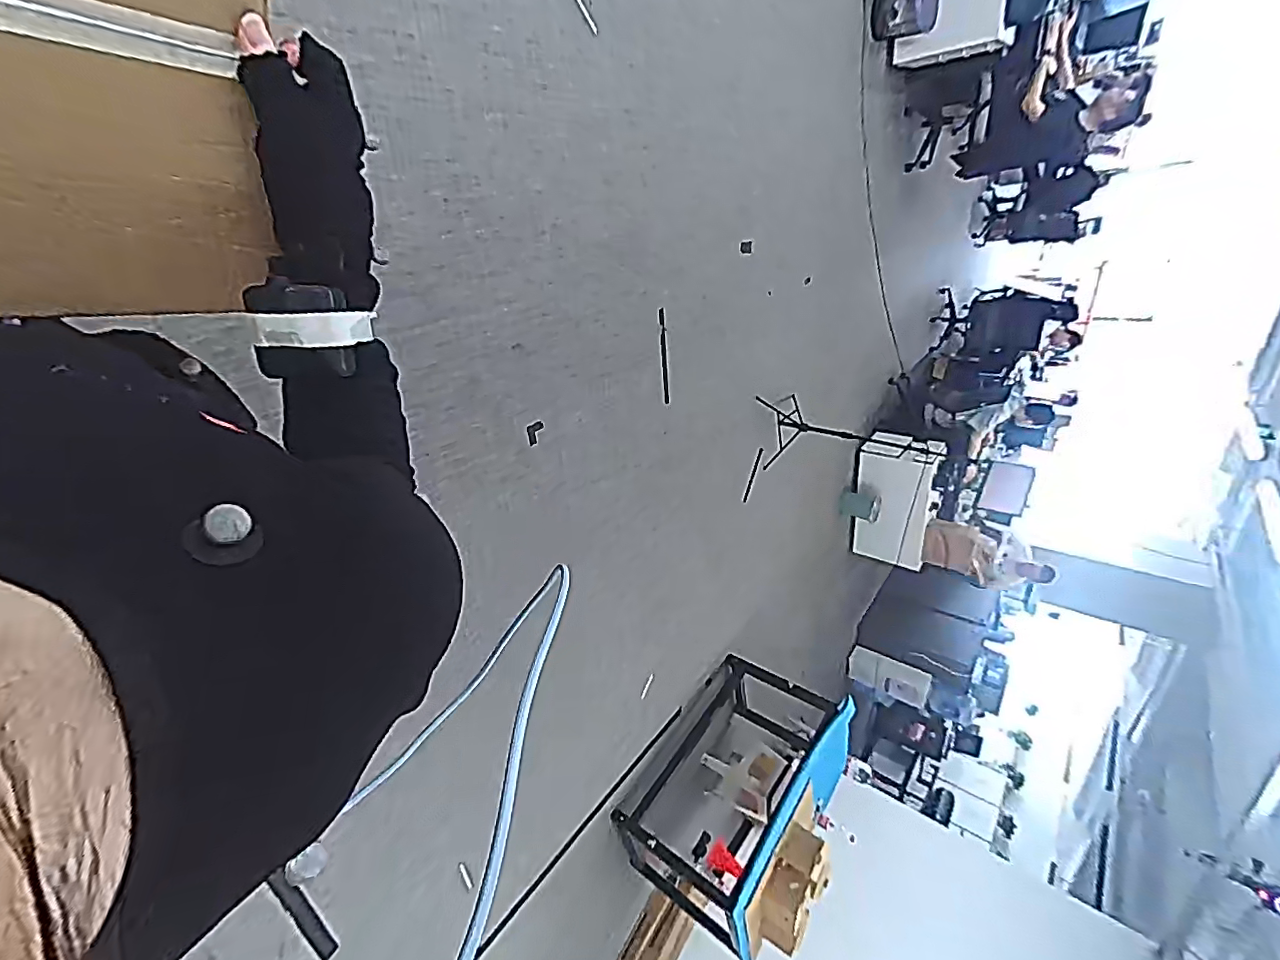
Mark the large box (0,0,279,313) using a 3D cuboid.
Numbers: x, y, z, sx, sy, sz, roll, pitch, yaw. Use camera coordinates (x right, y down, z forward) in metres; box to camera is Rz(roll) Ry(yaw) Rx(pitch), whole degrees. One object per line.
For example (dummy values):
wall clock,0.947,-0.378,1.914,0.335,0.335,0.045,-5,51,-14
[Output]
large box,-0.464,-0.292,0.258,0.408,0.320,0.320,-20,144,-43
